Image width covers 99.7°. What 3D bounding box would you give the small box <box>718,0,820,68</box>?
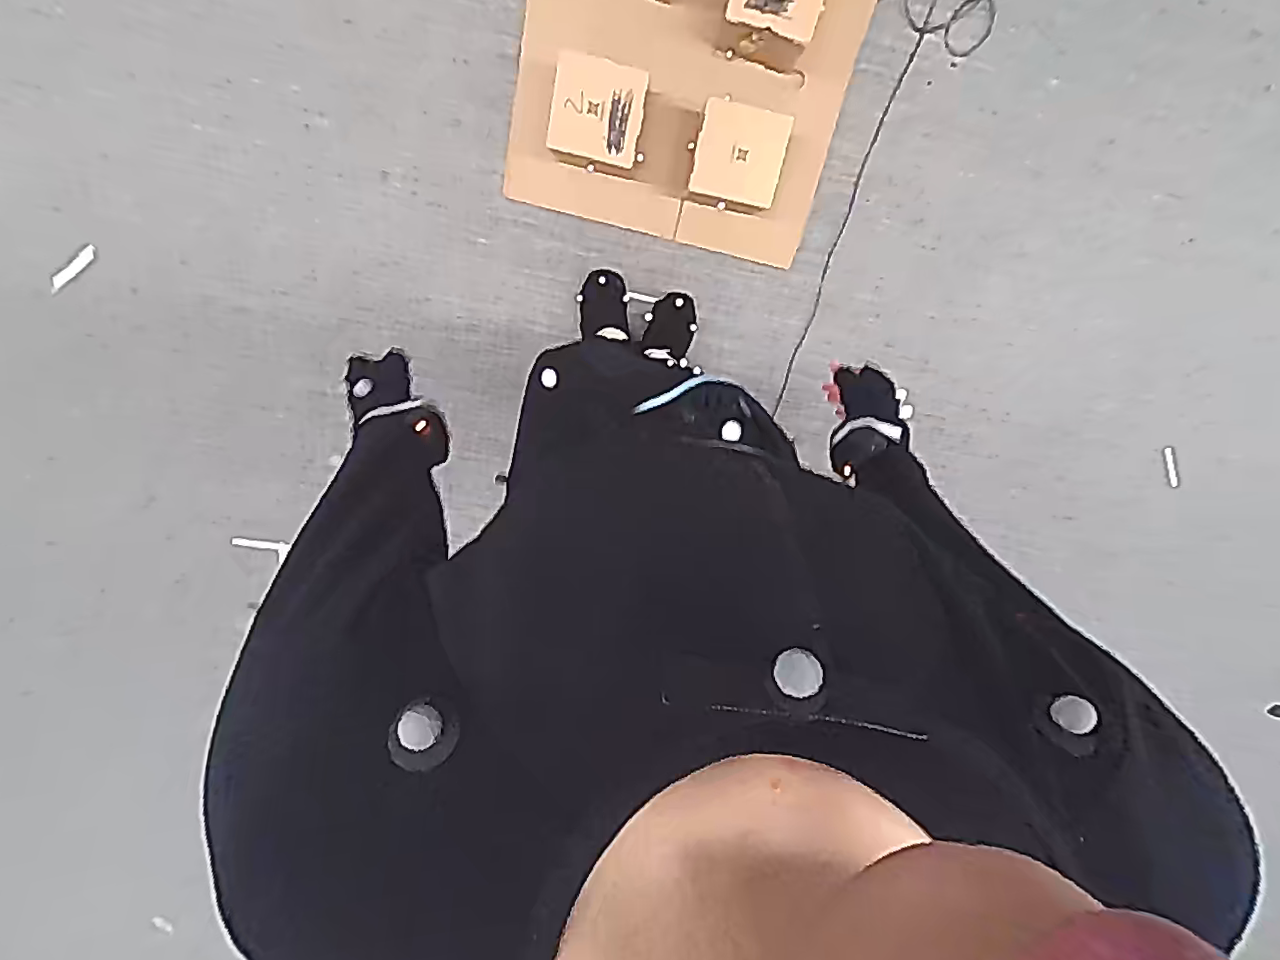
[{"bbox_3d":[0.255,-0.935,1.037,0.168,0.176,0.179,15,111,-5],"label":"small box"}]
